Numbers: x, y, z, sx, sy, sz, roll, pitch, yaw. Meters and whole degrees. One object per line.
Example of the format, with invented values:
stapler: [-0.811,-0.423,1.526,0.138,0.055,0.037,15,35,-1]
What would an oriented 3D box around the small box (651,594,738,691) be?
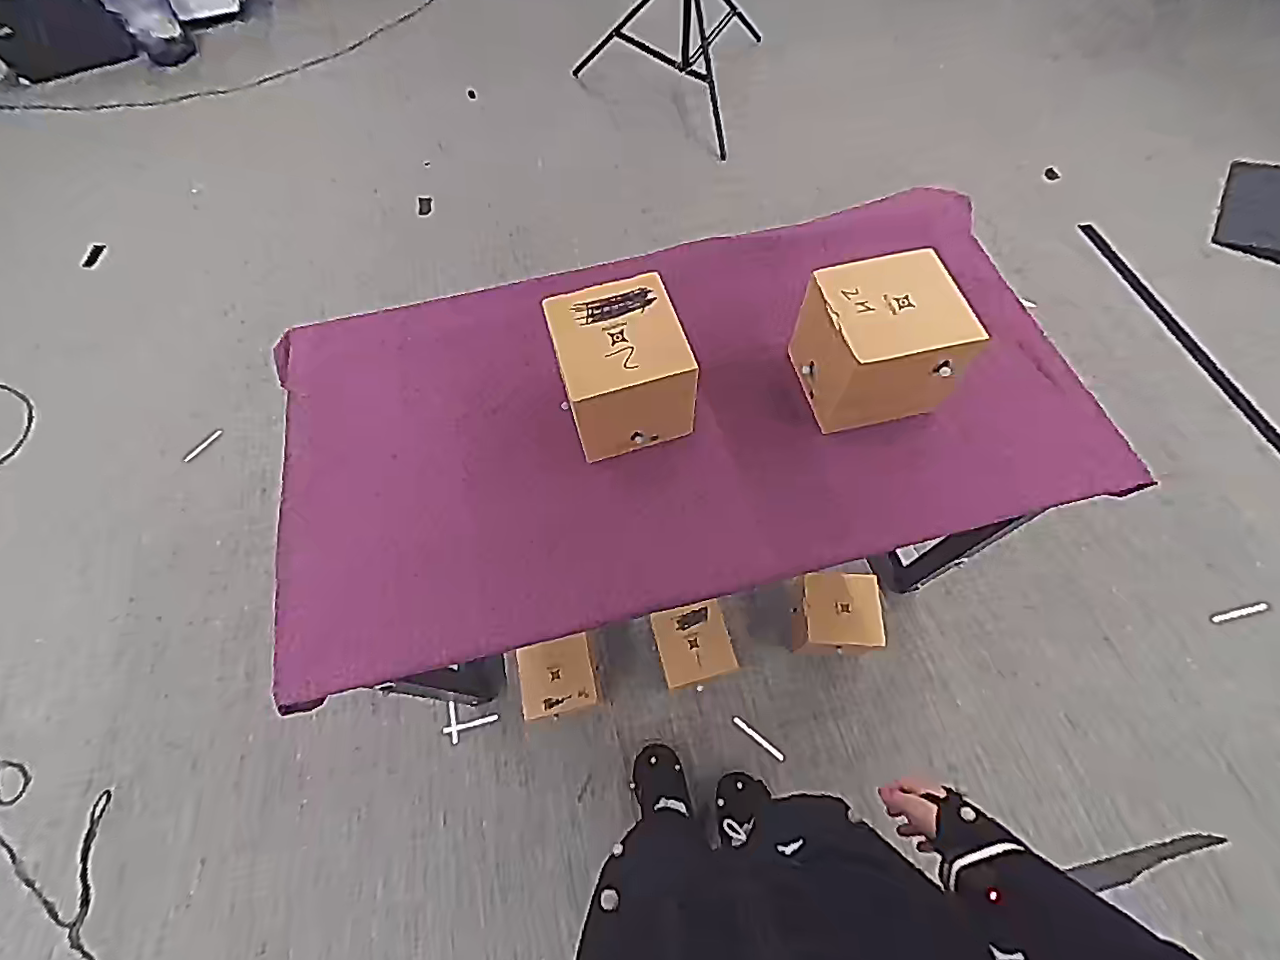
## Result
small box: [0.124,0.397,1.307,0.168,0.176,0.179,-14,66,-4]

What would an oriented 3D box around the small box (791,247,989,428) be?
small box: [0.337,-0.195,0.771,0.179,0.176,0.168,-12,64,-2]

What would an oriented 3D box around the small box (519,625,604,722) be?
small box: [-0.184,0.465,1.290,0.168,0.176,0.179,-12,63,-3]

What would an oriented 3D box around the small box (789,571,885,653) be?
small box: [0.474,0.328,1.325,0.179,0.176,0.168,1,65,4]
